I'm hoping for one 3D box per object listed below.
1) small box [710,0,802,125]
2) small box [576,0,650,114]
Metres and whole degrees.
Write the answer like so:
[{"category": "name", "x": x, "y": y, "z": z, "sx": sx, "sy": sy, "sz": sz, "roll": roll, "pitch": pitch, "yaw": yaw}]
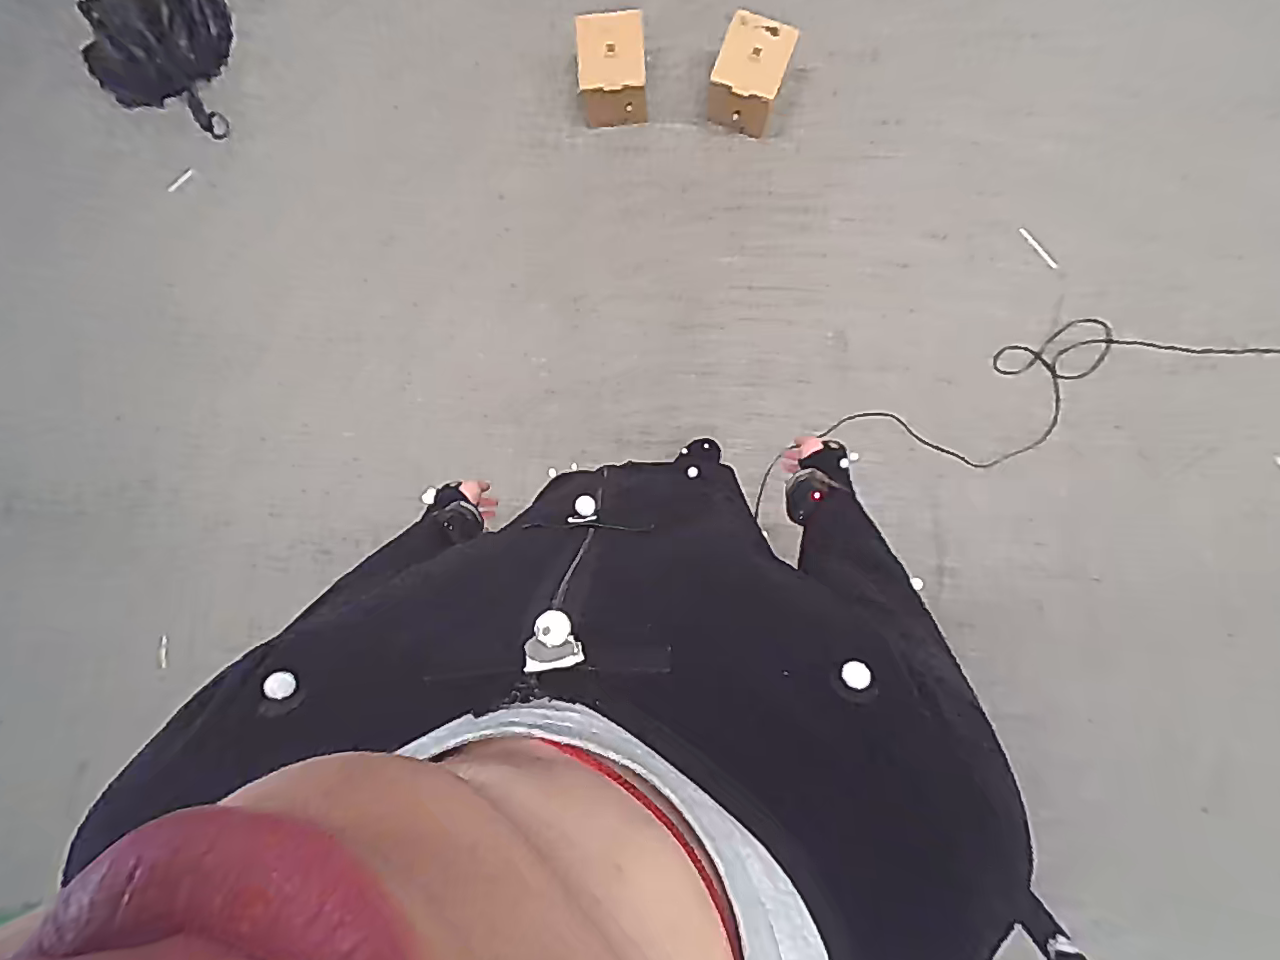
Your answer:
[{"category": "small box", "x": 0.283, "y": -1.038, "z": 1.354, "sx": 0.168, "sy": 0.176, "sz": 0.179, "roll": 22, "pitch": 97, "yaw": 3}, {"category": "small box", "x": -0.064, "y": -1.068, "z": 1.380, "sx": 0.168, "sy": 0.176, "sz": 0.179, "roll": -4, "pitch": 94, "yaw": 3}]
